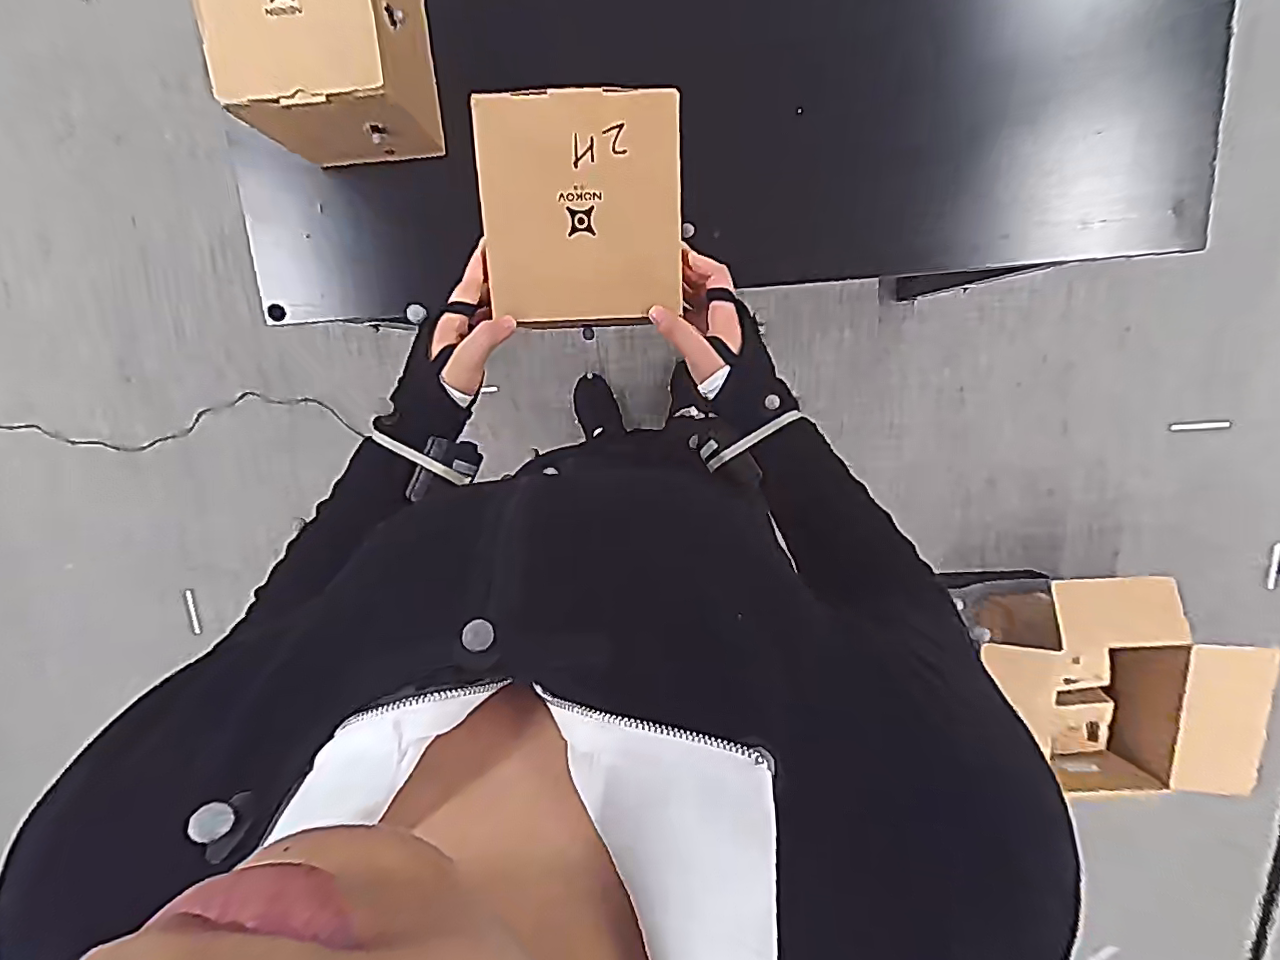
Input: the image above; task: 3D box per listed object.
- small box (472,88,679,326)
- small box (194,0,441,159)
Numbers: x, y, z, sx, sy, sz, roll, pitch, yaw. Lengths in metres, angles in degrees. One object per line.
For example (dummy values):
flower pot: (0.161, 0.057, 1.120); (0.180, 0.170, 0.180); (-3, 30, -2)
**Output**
small box: (-0.050, -0.241, 0.522); (0.168, 0.176, 0.179); (-2, 103, -1)
small box: (-0.328, -0.463, 0.575); (0.168, 0.176, 0.179); (-5, 101, 0)
